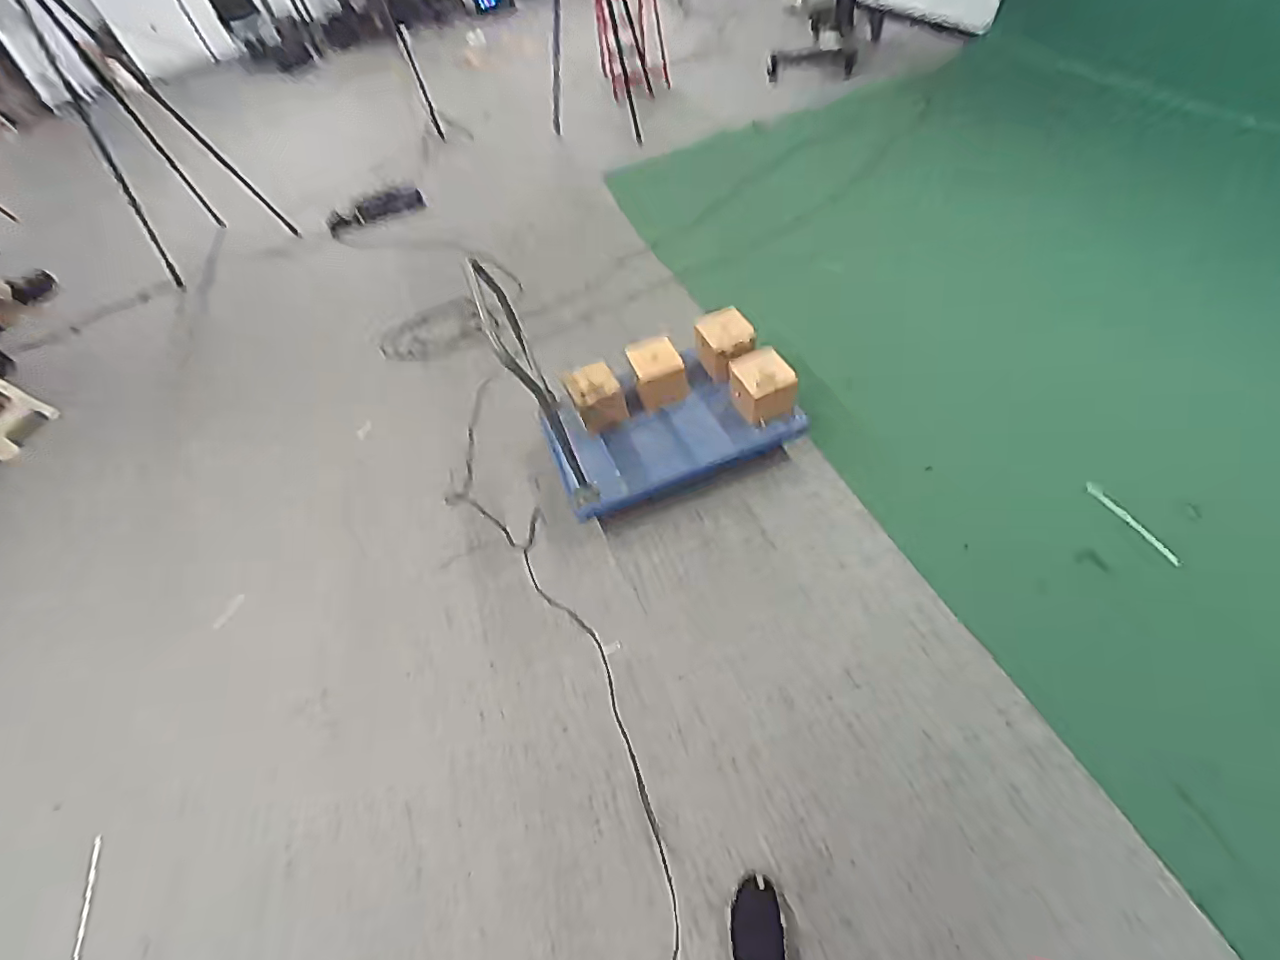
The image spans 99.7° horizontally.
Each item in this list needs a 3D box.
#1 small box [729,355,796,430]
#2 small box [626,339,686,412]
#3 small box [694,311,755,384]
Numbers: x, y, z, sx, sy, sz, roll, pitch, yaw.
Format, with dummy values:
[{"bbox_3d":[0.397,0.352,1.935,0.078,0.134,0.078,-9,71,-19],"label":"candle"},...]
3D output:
[{"bbox_3d":[0.422,-0.297,1.879,0.168,0.176,0.179,-22,52,-7],"label":"small box"},{"bbox_3d":[0.060,-0.383,1.995,0.168,0.176,0.179,-22,54,-6],"label":"small box"},{"bbox_3d":[0.316,-0.493,2.025,0.168,0.176,0.179,-23,53,-5],"label":"small box"}]
